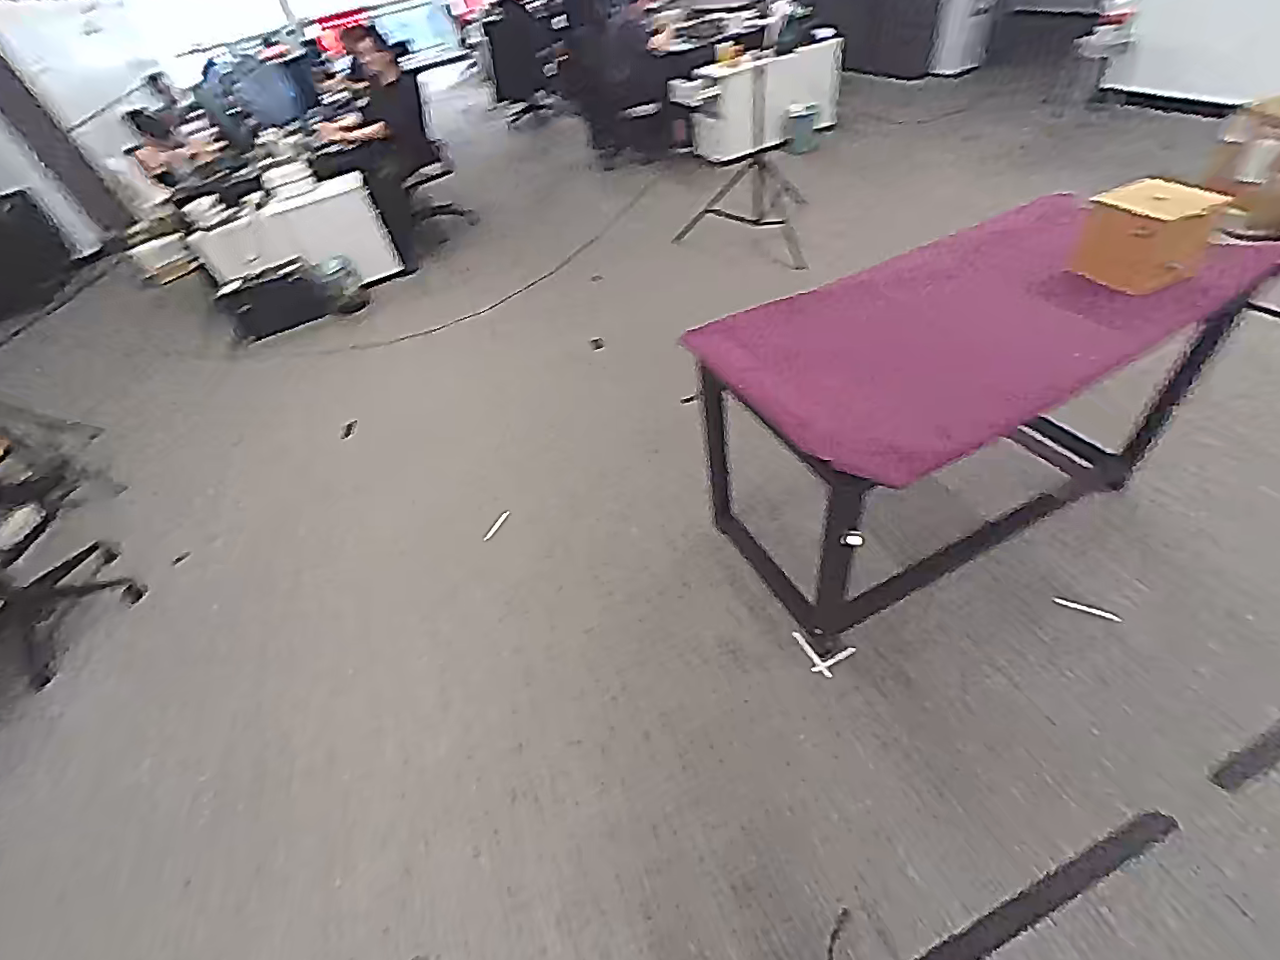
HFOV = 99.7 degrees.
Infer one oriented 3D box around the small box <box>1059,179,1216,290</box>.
[{"bbox_3d":[1.117,-0.559,1.235,0.168,0.176,0.179,-22,45,-7],"label":"small box"}]
